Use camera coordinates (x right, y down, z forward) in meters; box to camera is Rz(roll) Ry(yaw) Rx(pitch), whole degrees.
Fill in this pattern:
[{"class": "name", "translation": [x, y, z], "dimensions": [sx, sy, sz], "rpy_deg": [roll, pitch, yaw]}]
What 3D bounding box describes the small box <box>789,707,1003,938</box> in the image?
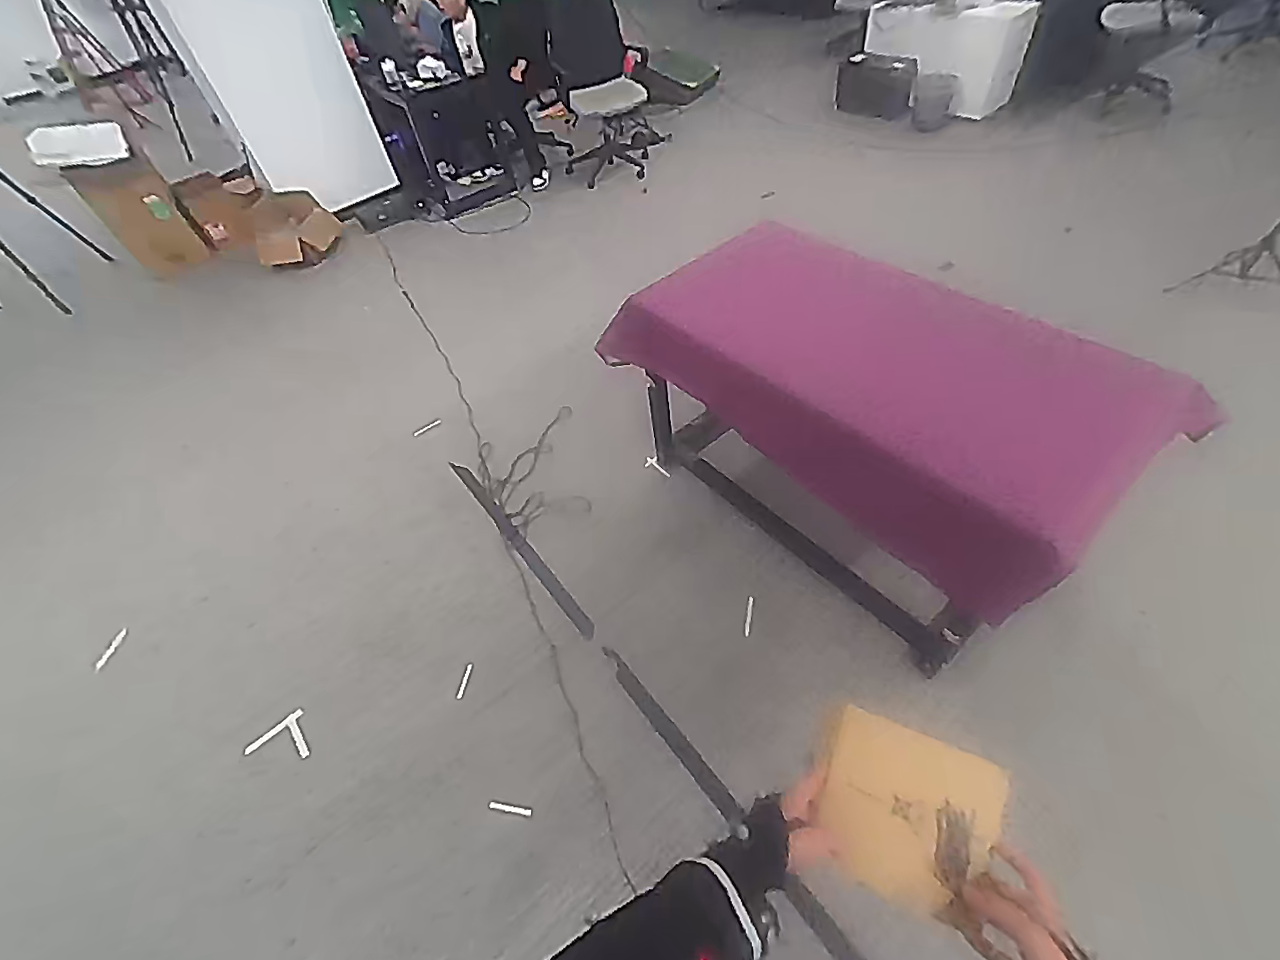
[{"class": "small box", "translation": [0.294, 0.387, 0.653], "dimensions": [0.179, 0.176, 0.168], "rpy_deg": [18, 71, 16]}]
